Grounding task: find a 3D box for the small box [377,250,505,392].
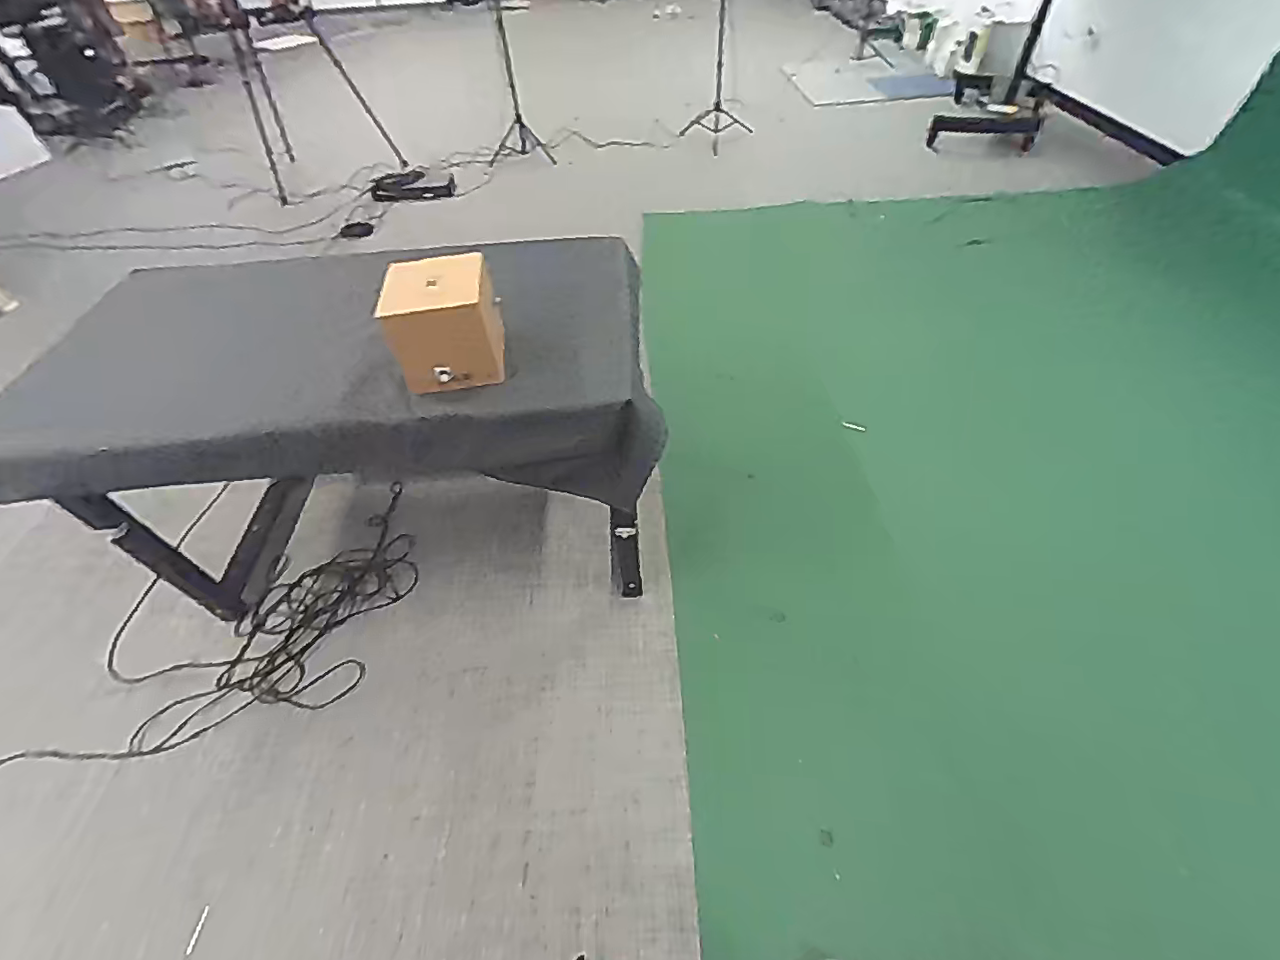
[{"bbox_3d":[-0.343,-0.282,0.967,0.168,0.176,0.179,-10,50,-4],"label":"small box"}]
